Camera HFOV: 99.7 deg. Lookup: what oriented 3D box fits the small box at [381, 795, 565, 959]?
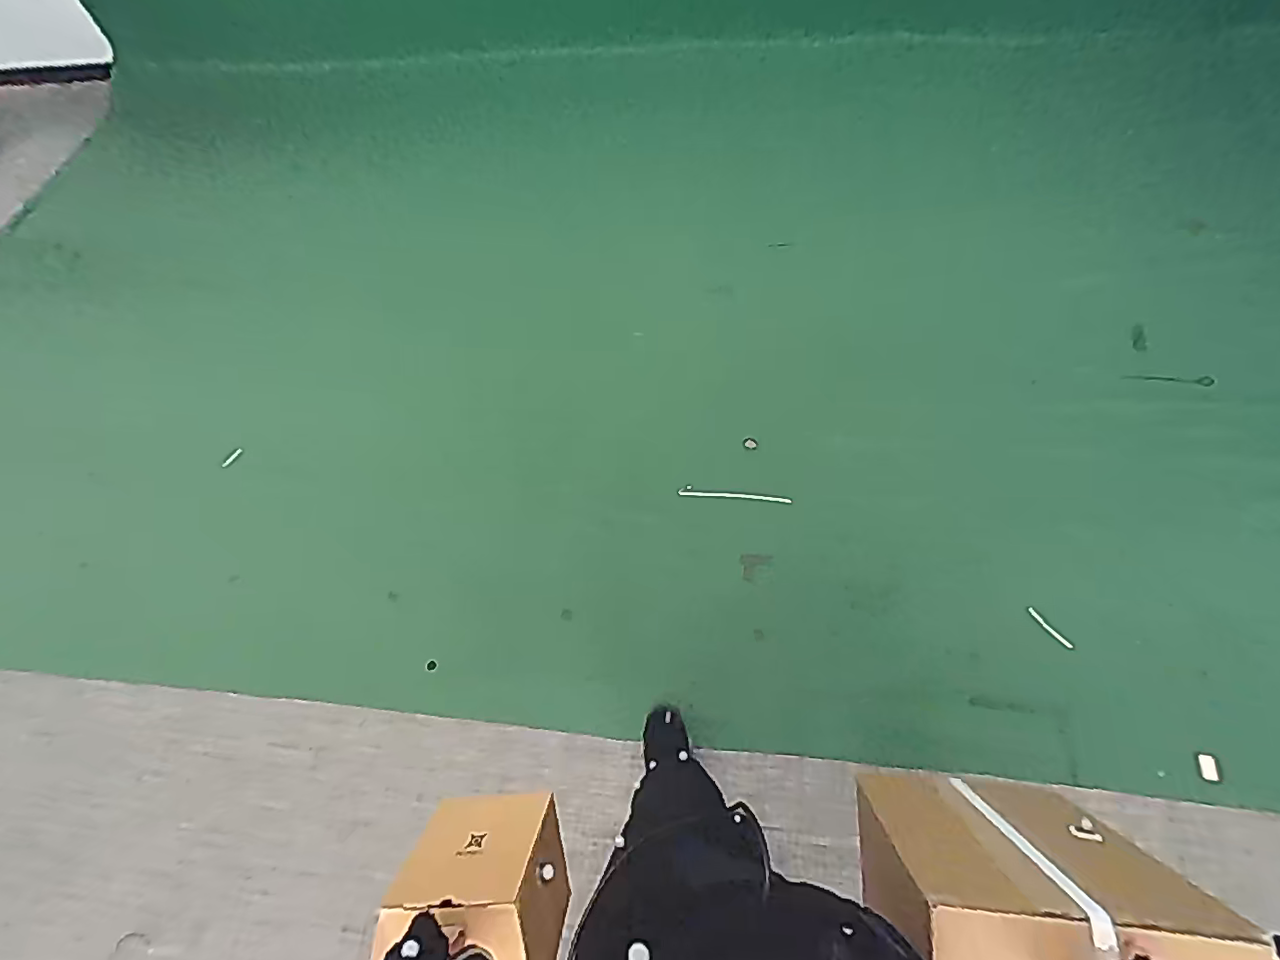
[{"bbox_3d":[-0.201,0.549,0.704,0.168,0.179,0.176,-7,99,6],"label":"small box"}]
